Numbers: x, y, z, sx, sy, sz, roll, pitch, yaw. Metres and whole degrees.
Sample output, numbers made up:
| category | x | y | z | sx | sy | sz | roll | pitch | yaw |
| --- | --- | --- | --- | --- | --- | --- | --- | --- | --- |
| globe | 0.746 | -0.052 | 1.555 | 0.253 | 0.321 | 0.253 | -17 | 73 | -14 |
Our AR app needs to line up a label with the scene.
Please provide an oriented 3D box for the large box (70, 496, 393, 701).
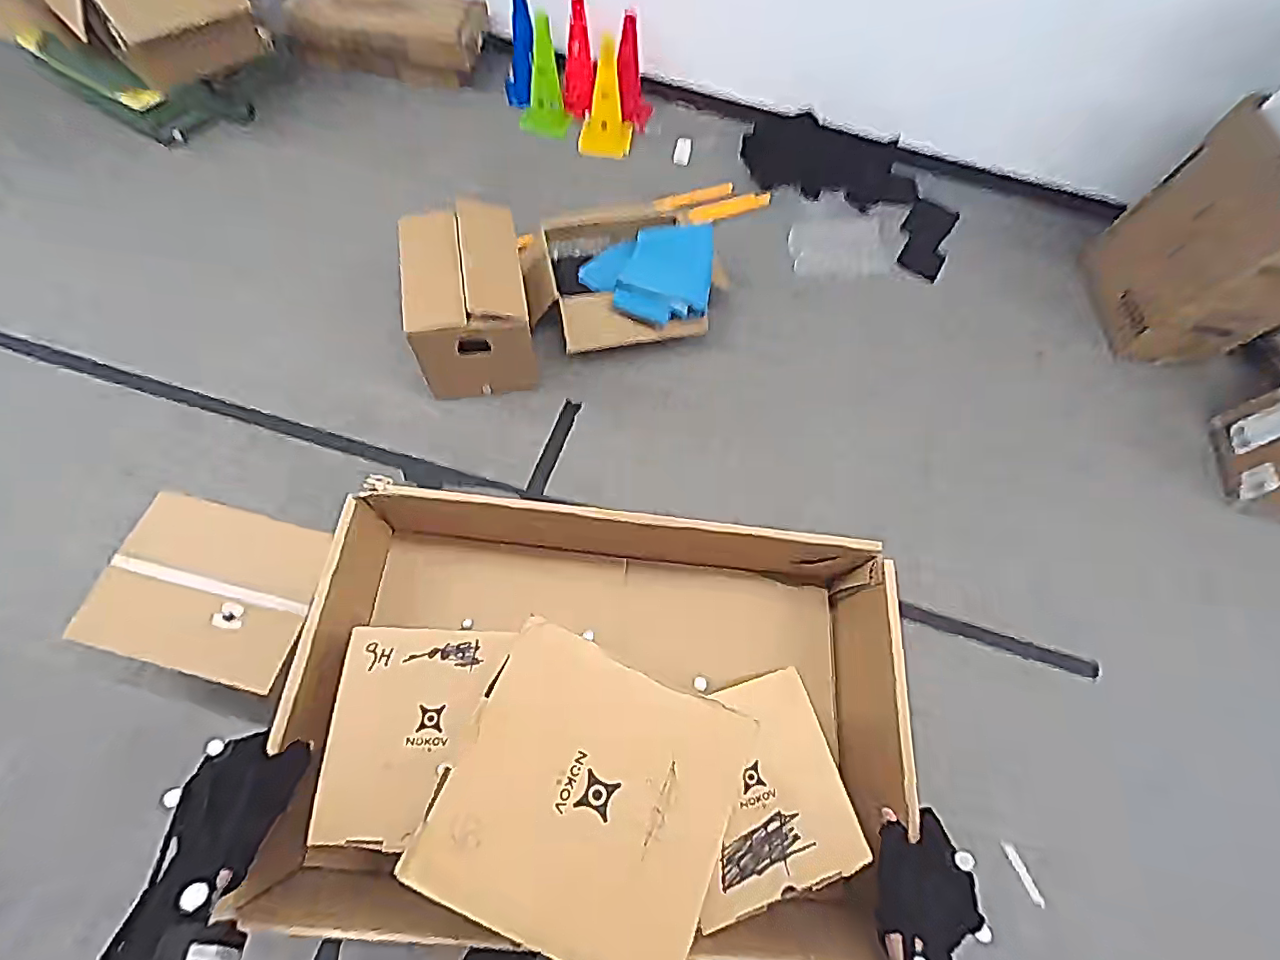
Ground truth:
| category | x | y | z | sx | sy | sz | roll | pitch | yaw |
| --- | --- | --- | --- | --- | --- | --- | --- | --- | --- |
| large box | -0.841 | 0.273 | 1.189 | 0.408 | 0.320 | 0.320 | 15 | 65 | 0 |
